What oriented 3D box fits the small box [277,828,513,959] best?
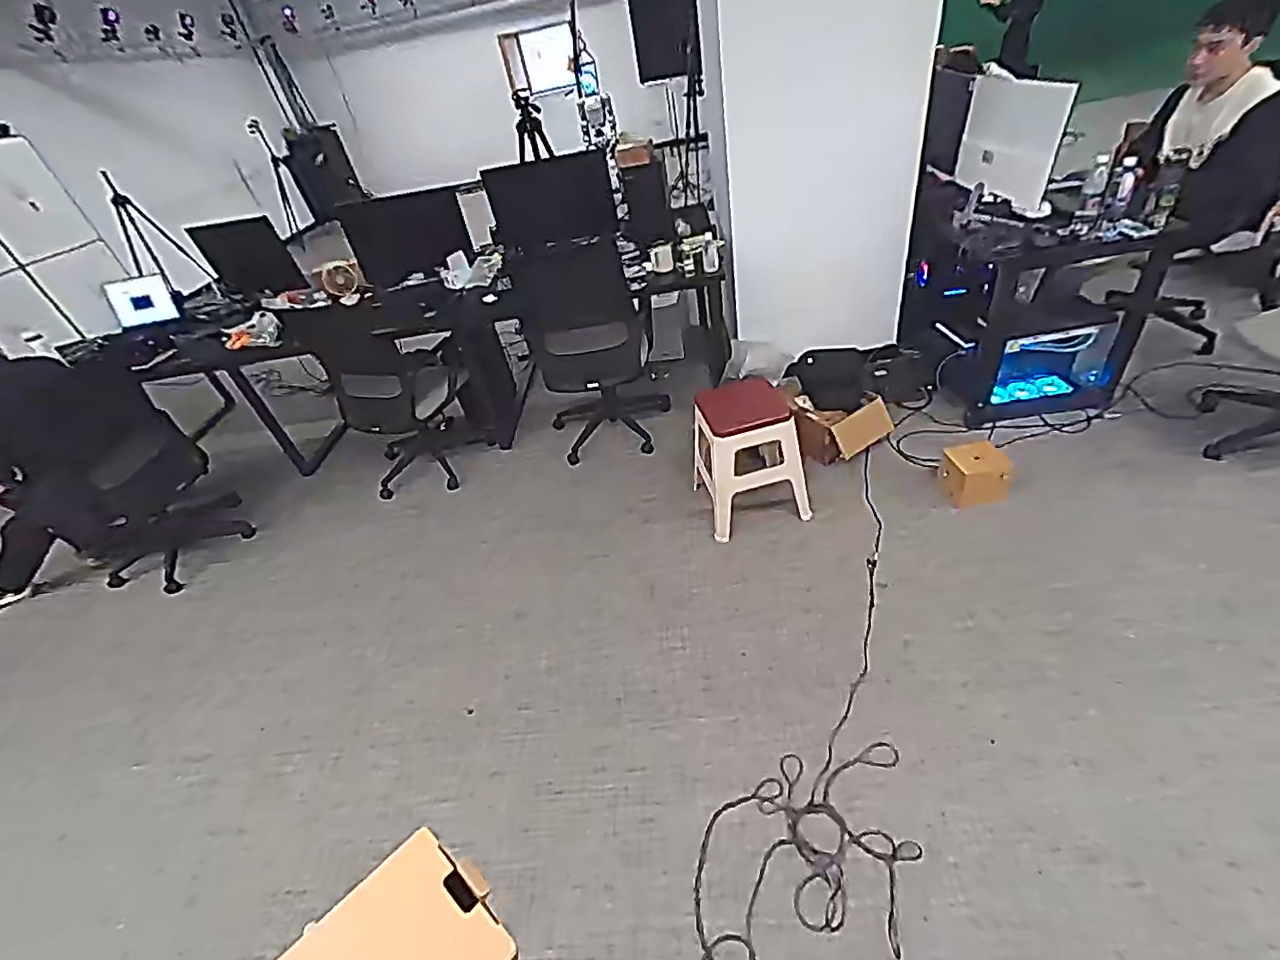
[{"bbox_3d":[-0.250,0.524,0.565,0.168,0.176,0.179,35,44,24],"label":"small box"}]
